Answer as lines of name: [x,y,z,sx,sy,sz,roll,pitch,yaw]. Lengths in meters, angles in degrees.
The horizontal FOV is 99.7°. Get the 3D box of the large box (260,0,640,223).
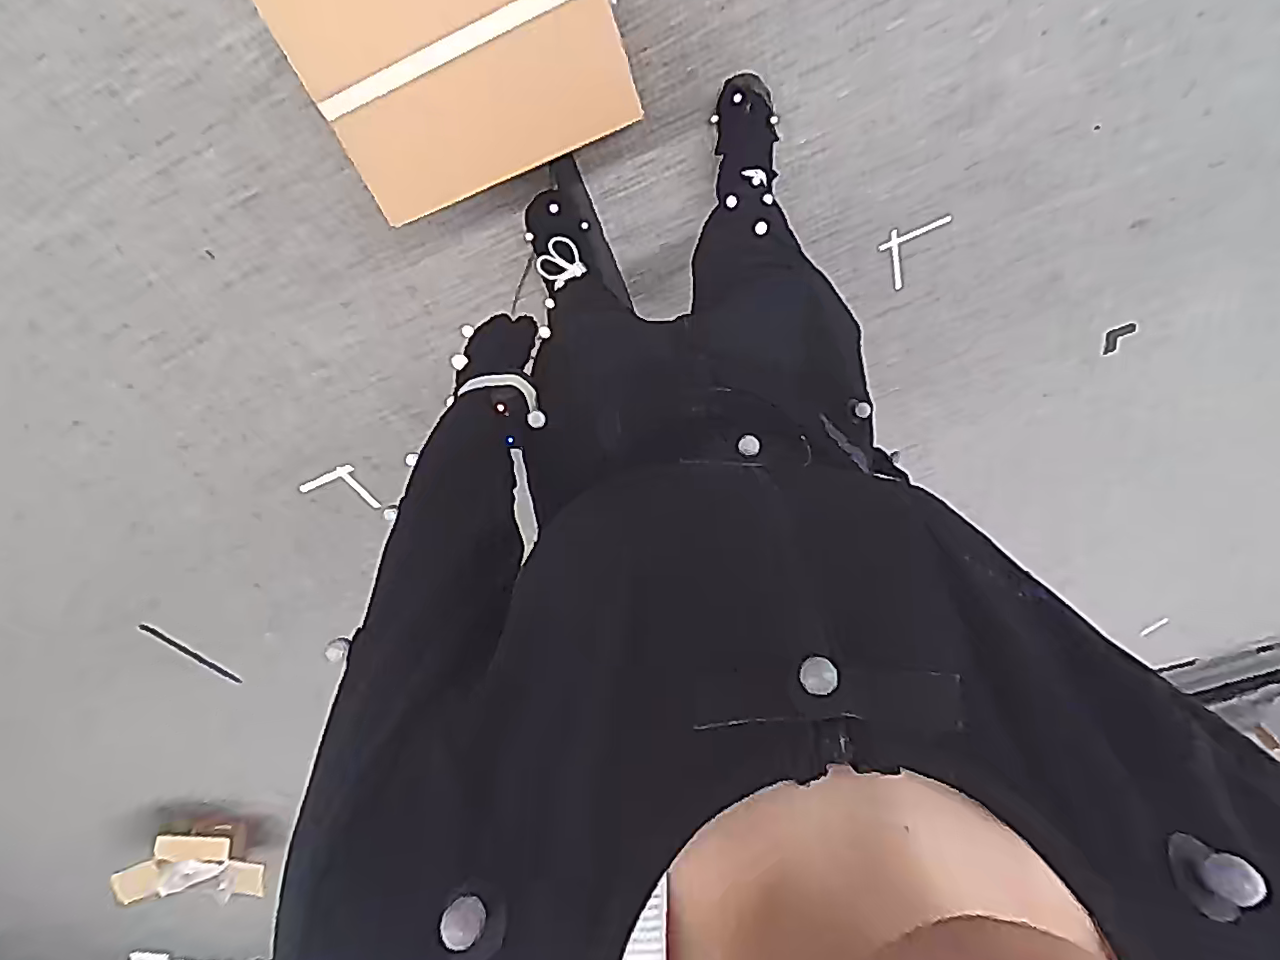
large box: [-0.244,-0.649,0.809,0.408,0.320,0.320,-18,129,10]
